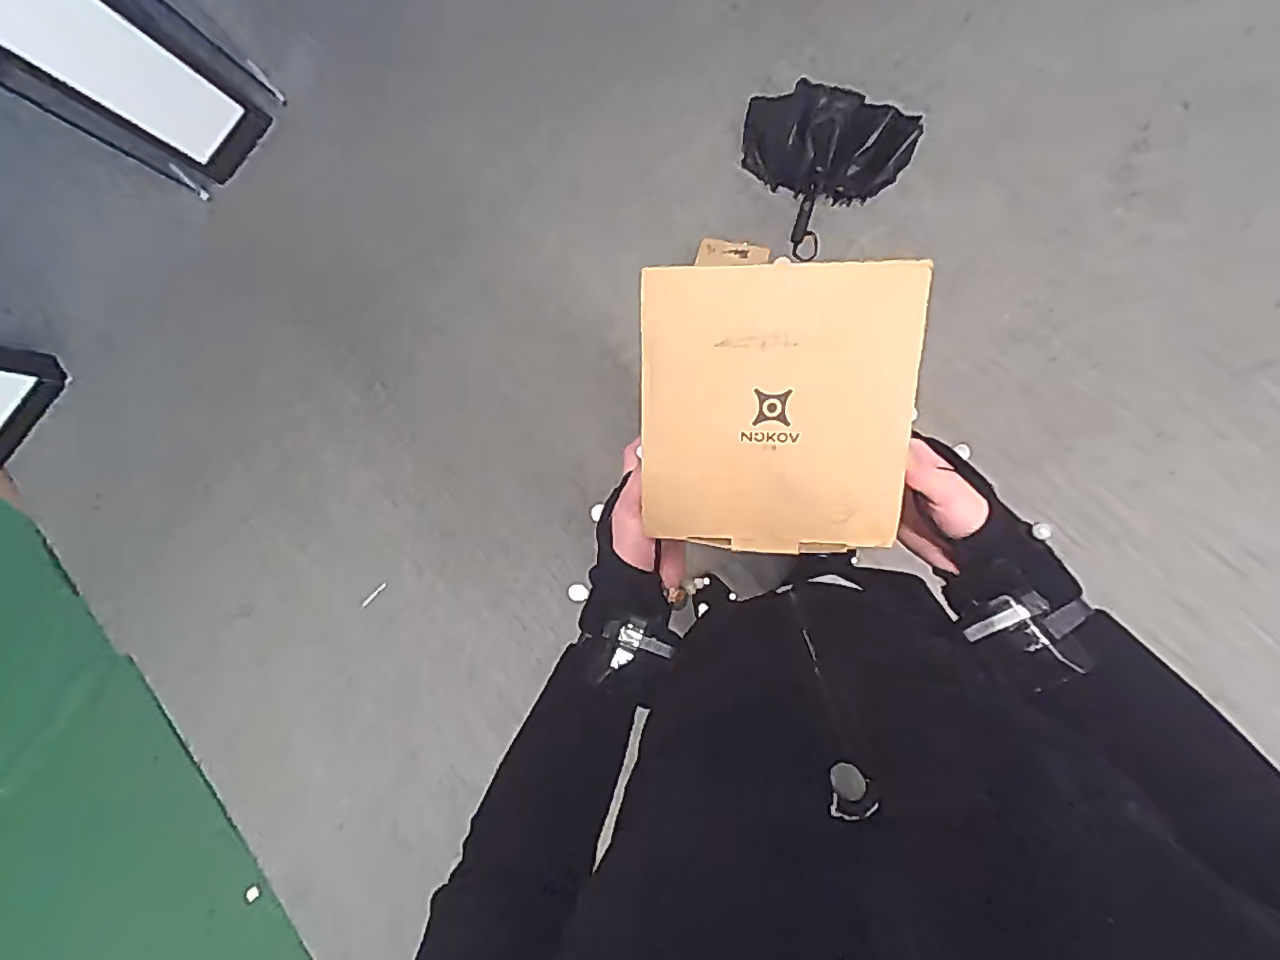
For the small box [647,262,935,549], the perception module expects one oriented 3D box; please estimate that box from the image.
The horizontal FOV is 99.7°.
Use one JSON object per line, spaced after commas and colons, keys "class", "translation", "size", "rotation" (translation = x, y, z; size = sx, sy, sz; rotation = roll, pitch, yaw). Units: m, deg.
{"class": "small box", "translation": [0.098, -0.062, 0.412], "size": [0.168, 0.176, 0.179], "rotation": [1, 104, 8]}
